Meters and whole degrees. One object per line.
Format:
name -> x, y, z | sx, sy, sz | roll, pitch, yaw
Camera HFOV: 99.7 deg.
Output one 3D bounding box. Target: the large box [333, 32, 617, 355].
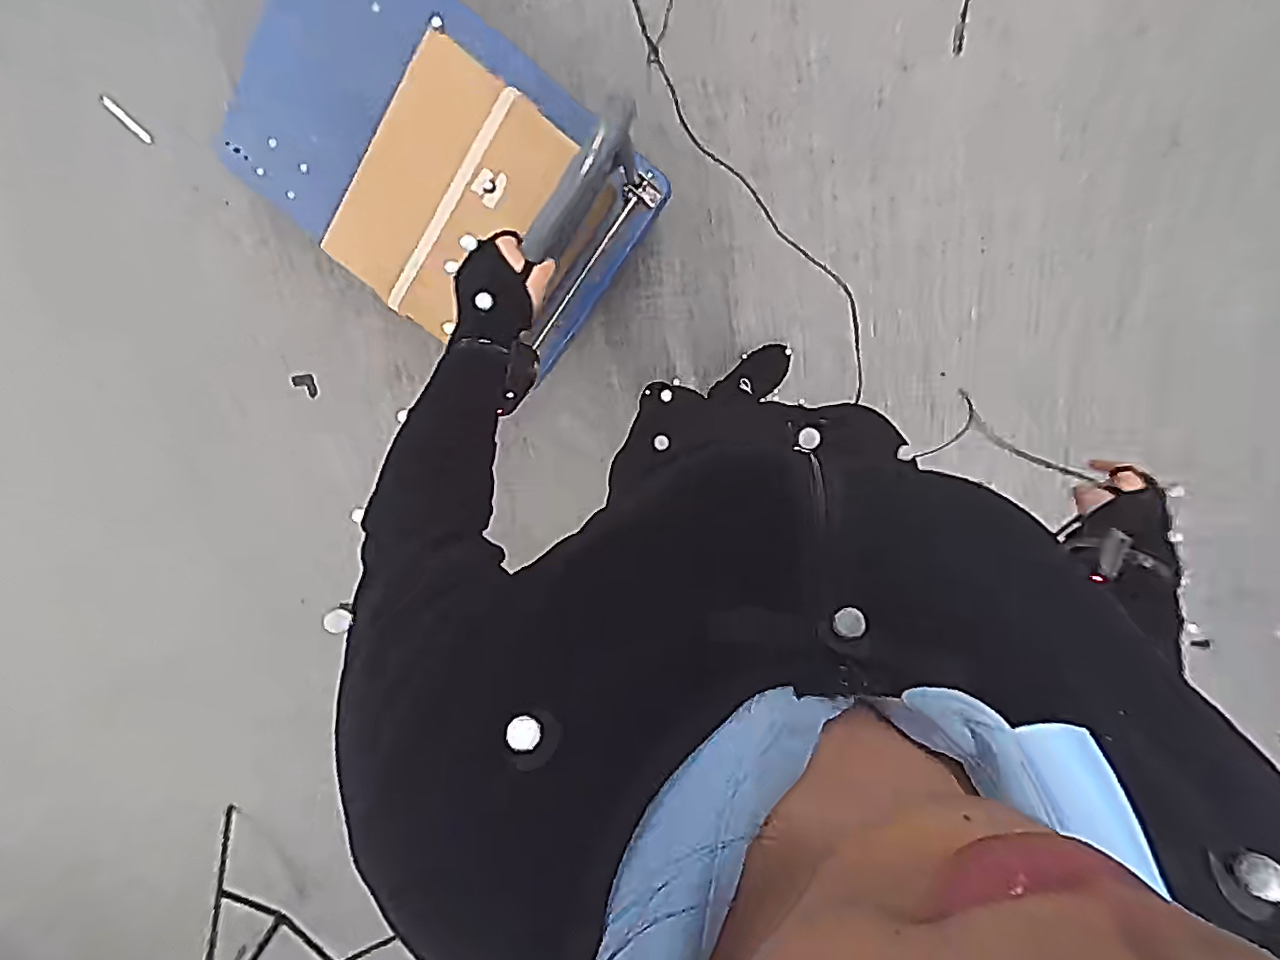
large box -> -0.296, -0.506, 1.057 | 0.320, 0.320, 0.408 | 37, 107, -7
